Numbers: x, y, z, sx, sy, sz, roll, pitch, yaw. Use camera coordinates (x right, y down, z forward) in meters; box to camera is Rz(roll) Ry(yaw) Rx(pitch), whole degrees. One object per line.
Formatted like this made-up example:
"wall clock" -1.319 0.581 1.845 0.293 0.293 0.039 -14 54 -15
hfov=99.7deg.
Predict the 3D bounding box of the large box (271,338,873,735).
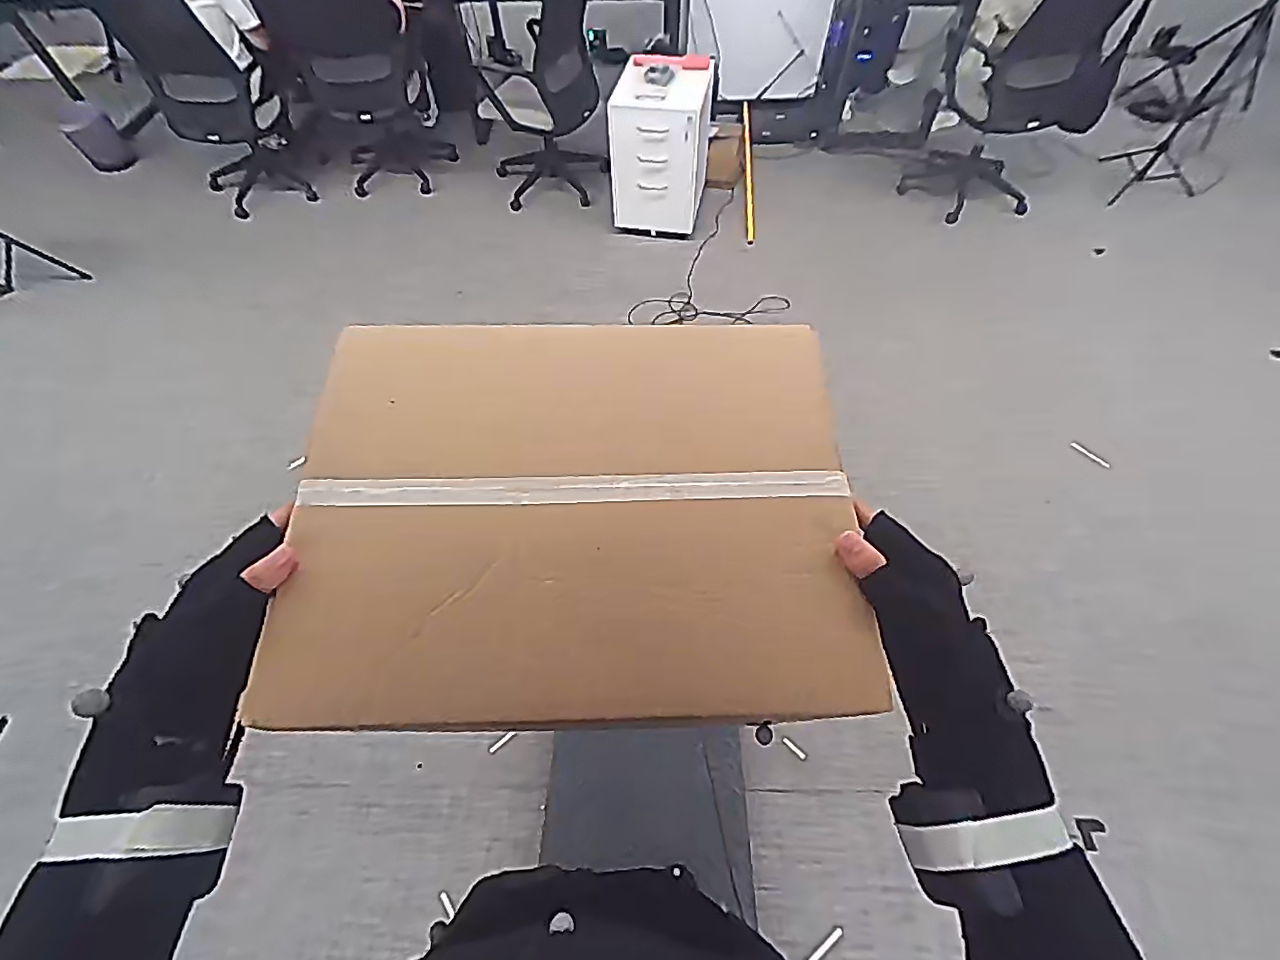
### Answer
"large box" -0.047 0.079 0.550 0.408 0.320 0.320 -1 64 -1
